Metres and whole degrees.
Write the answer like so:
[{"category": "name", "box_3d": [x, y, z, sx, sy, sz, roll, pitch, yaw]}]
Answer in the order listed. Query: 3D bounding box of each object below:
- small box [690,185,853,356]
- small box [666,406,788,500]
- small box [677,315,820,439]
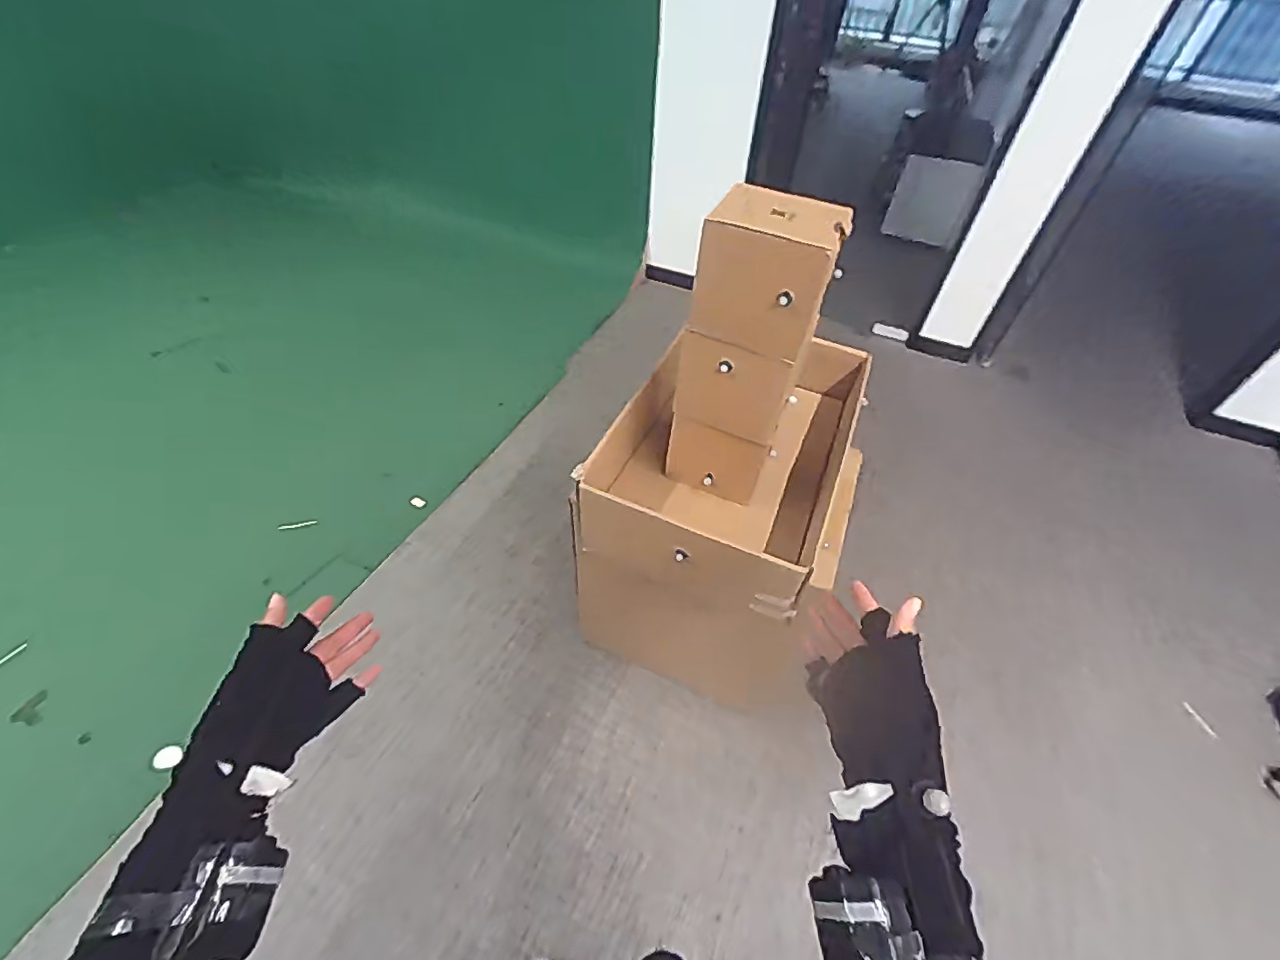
[{"category": "small box", "box_3d": [0.189, -0.306, 0.797, 0.179, 0.176, 0.168, 20, 47, 13]}, {"category": "small box", "box_3d": [0.165, -0.087, 1.038, 0.179, 0.176, 0.168, 21, 48, 13]}, {"category": "small box", "box_3d": [0.177, -0.196, 0.916, 0.179, 0.176, 0.168, 23, 49, 14]}]
